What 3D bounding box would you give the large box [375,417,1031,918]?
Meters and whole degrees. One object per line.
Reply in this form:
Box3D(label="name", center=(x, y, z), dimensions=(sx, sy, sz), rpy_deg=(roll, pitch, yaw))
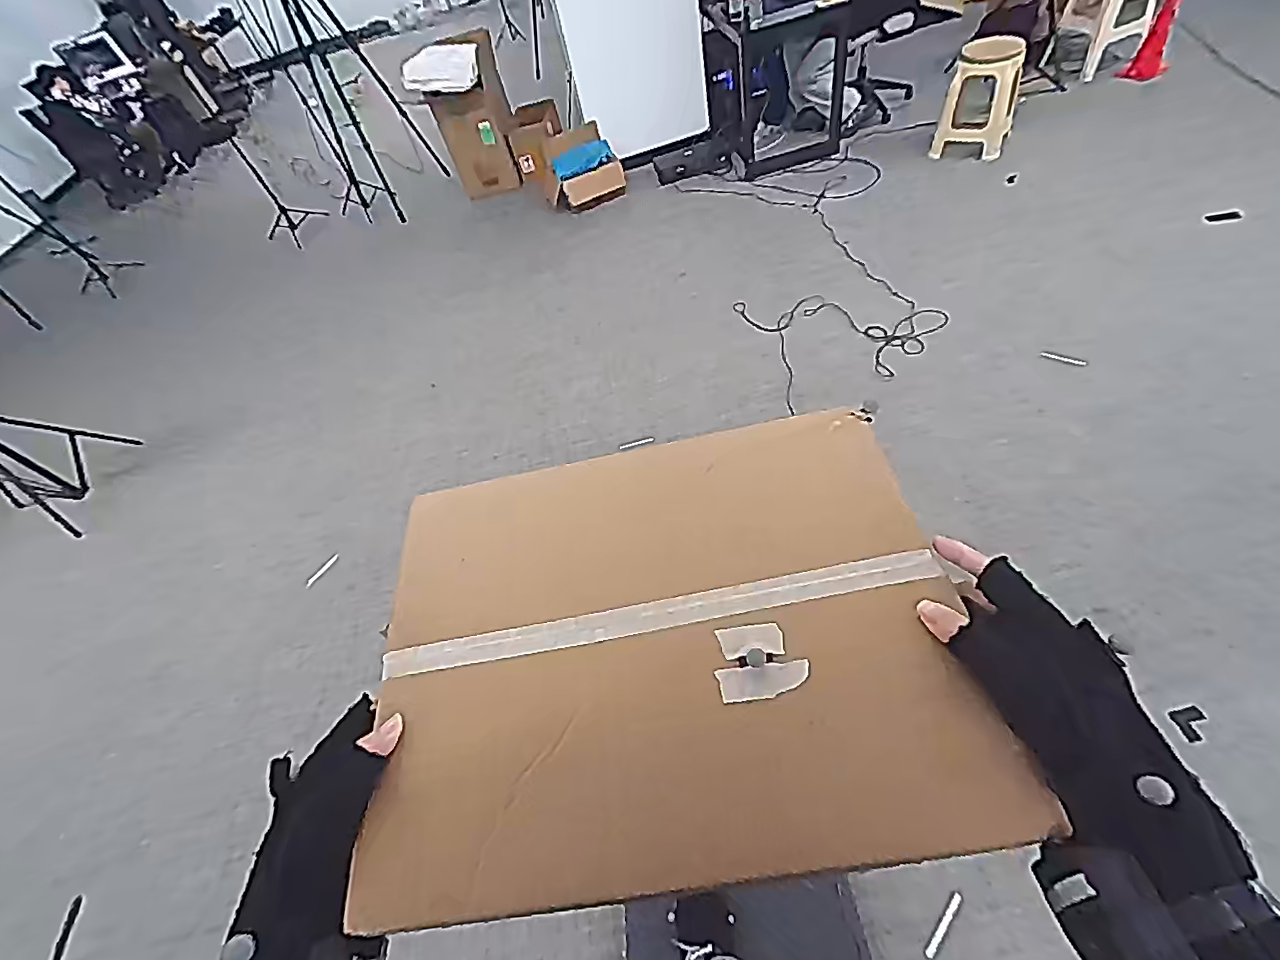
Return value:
Box3D(label="large box", center=(0.037, 0.190, 0.523), dimensions=(0.408, 0.320, 0.320), rpy_deg=(-12, 54, 4))
